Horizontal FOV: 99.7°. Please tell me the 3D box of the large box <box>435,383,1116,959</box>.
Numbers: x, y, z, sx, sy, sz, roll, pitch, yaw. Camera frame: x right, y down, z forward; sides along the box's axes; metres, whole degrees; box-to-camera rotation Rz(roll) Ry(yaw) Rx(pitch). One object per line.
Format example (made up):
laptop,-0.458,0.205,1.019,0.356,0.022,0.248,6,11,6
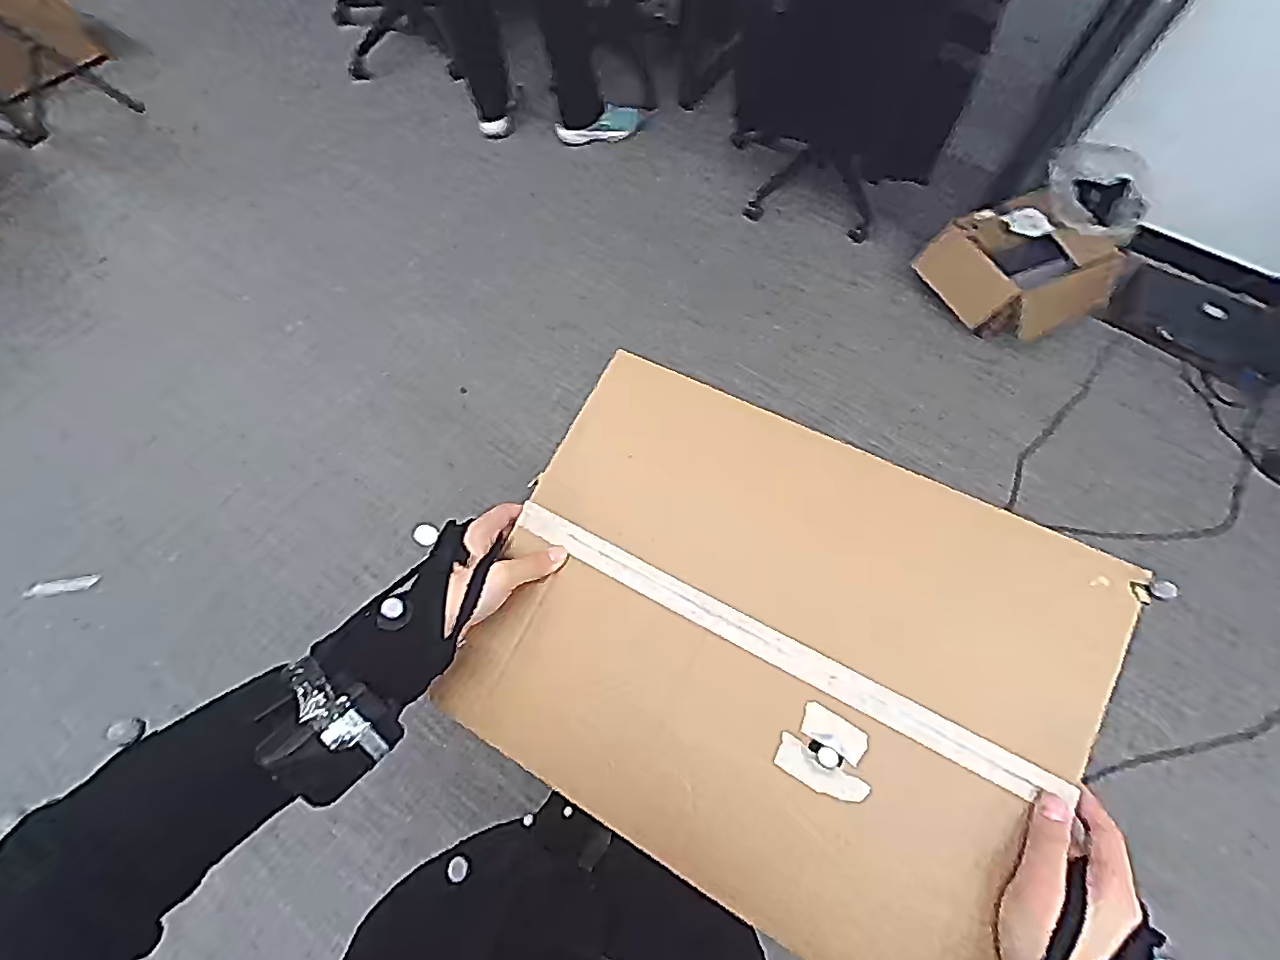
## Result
large box,0.103,0.166,0.530,0.408,0.320,0.320,26,80,14
